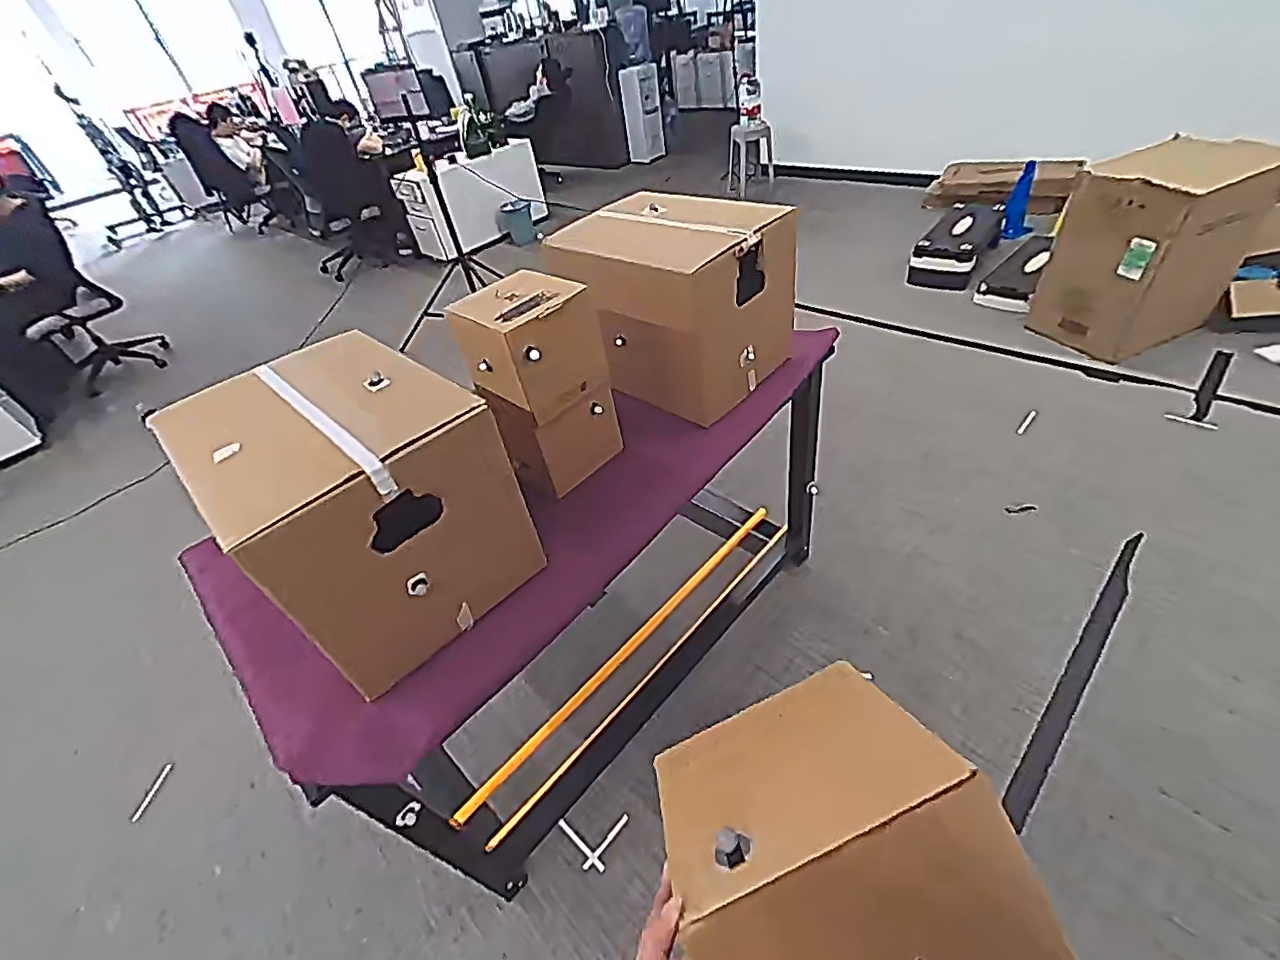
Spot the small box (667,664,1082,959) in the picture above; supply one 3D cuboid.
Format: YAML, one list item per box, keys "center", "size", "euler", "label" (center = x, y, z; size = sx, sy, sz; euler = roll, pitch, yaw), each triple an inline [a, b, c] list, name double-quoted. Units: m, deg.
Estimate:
- center: [0.131, 0.251, 0.355]
  size: [0.179, 0.168, 0.176]
  euler: [-27, 2, 0]
  label: "small box"

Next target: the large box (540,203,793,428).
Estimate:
- center: [0.069, -0.360, 1.135]
  size: [0.408, 0.320, 0.320]
  euler: [27, 54, 37]
  label: "large box"

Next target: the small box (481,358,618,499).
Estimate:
- center: [-0.158, -0.097, 1.004]
  size: [0.168, 0.176, 0.179]
  euler: [27, 55, 36]
  label: "small box"
